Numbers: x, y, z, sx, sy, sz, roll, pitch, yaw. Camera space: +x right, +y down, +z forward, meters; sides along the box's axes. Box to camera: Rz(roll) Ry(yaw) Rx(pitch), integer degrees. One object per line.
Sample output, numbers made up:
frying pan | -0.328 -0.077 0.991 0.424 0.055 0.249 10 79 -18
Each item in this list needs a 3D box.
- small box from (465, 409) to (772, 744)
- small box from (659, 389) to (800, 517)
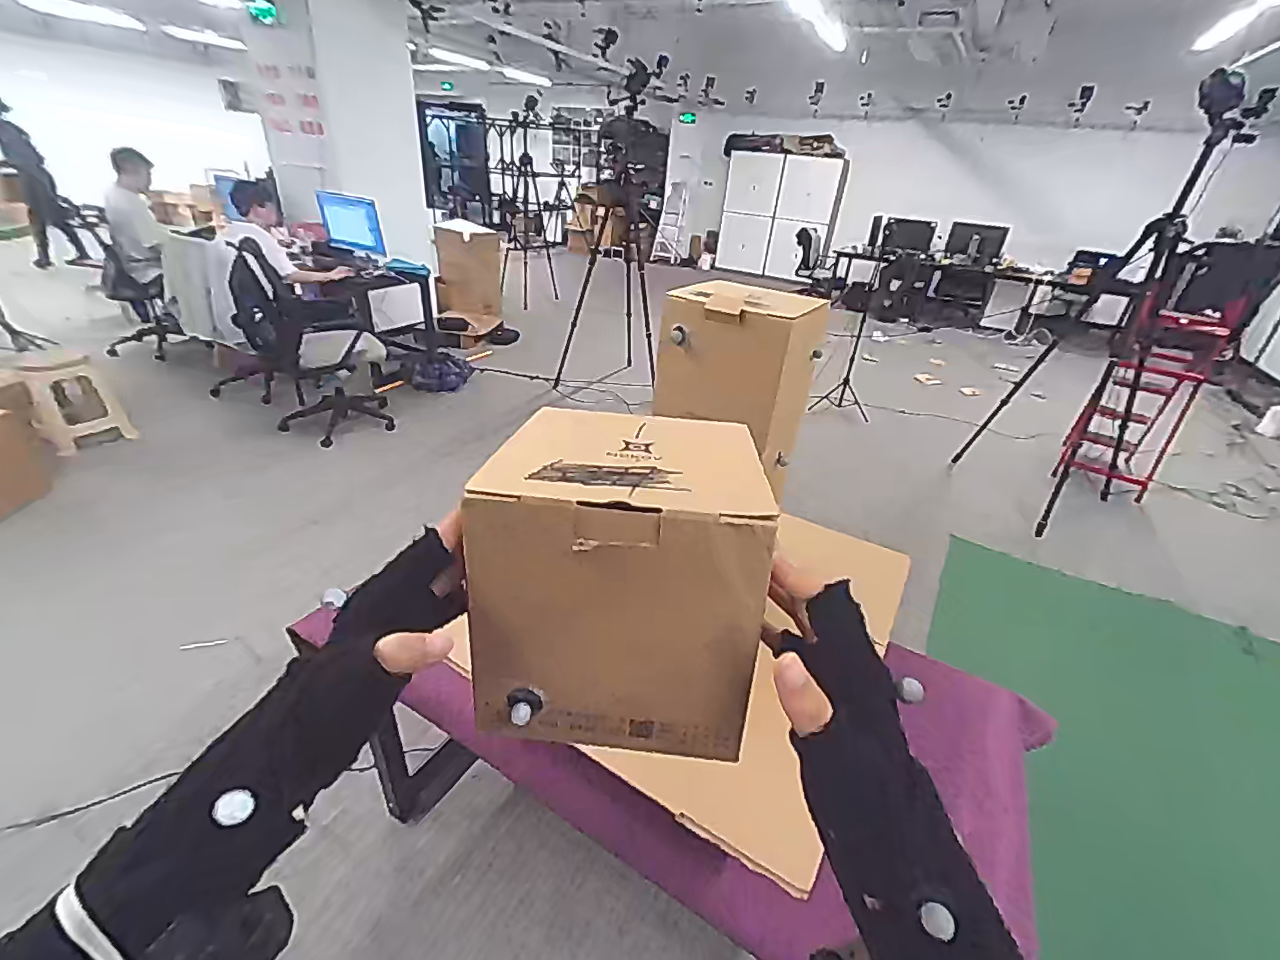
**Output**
small box | -0.008 0.056 0.386 0.168 0.176 0.179 5 22 3
small box | 0.121 -0.017 0.815 0.168 0.176 0.179 20 33 24
